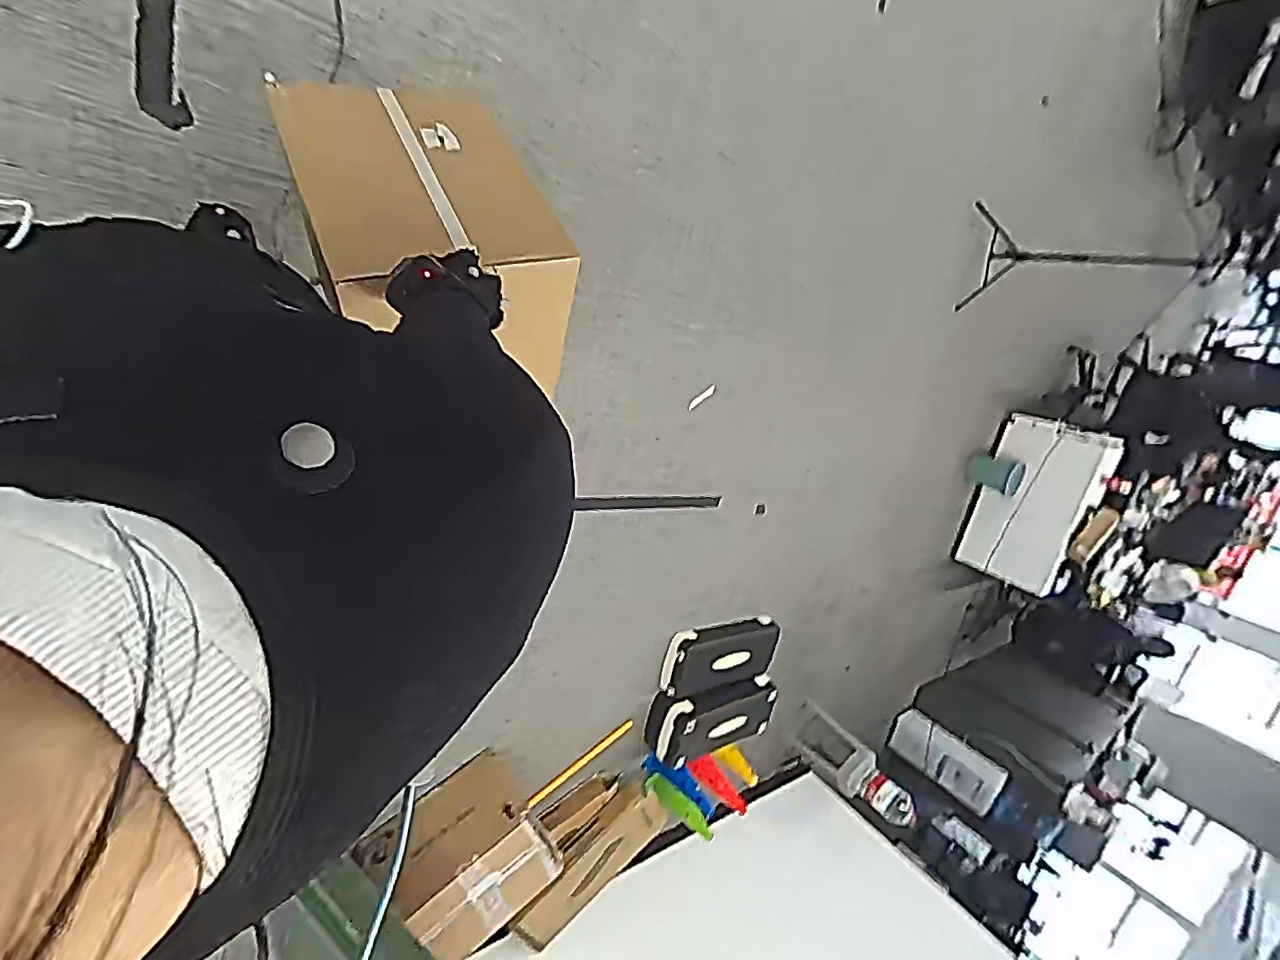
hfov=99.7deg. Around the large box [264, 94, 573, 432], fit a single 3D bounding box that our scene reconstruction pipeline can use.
[{"bbox_3d":[-0.350,-0.350,0.887,0.320,0.408,0.320,-18,157,-28],"label":"large box"}]
